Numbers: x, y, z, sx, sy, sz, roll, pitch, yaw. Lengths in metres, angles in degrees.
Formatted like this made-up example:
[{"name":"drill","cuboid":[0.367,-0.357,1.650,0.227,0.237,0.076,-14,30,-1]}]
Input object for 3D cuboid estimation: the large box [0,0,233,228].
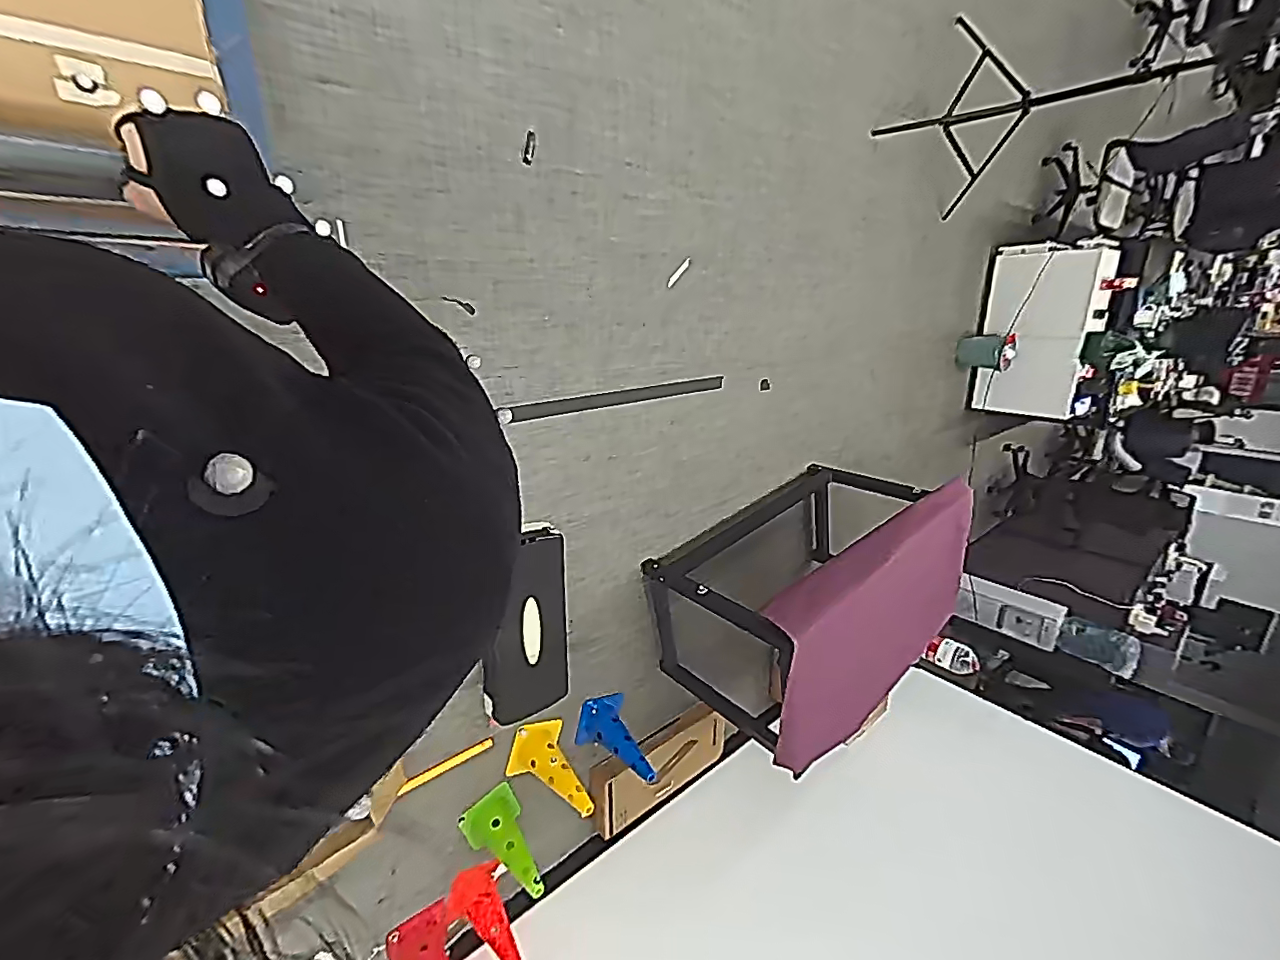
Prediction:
[{"name":"large box","cuboid":[-0.834,-0.540,0.722,0.408,0.320,0.320,-13,112,-38]}]
